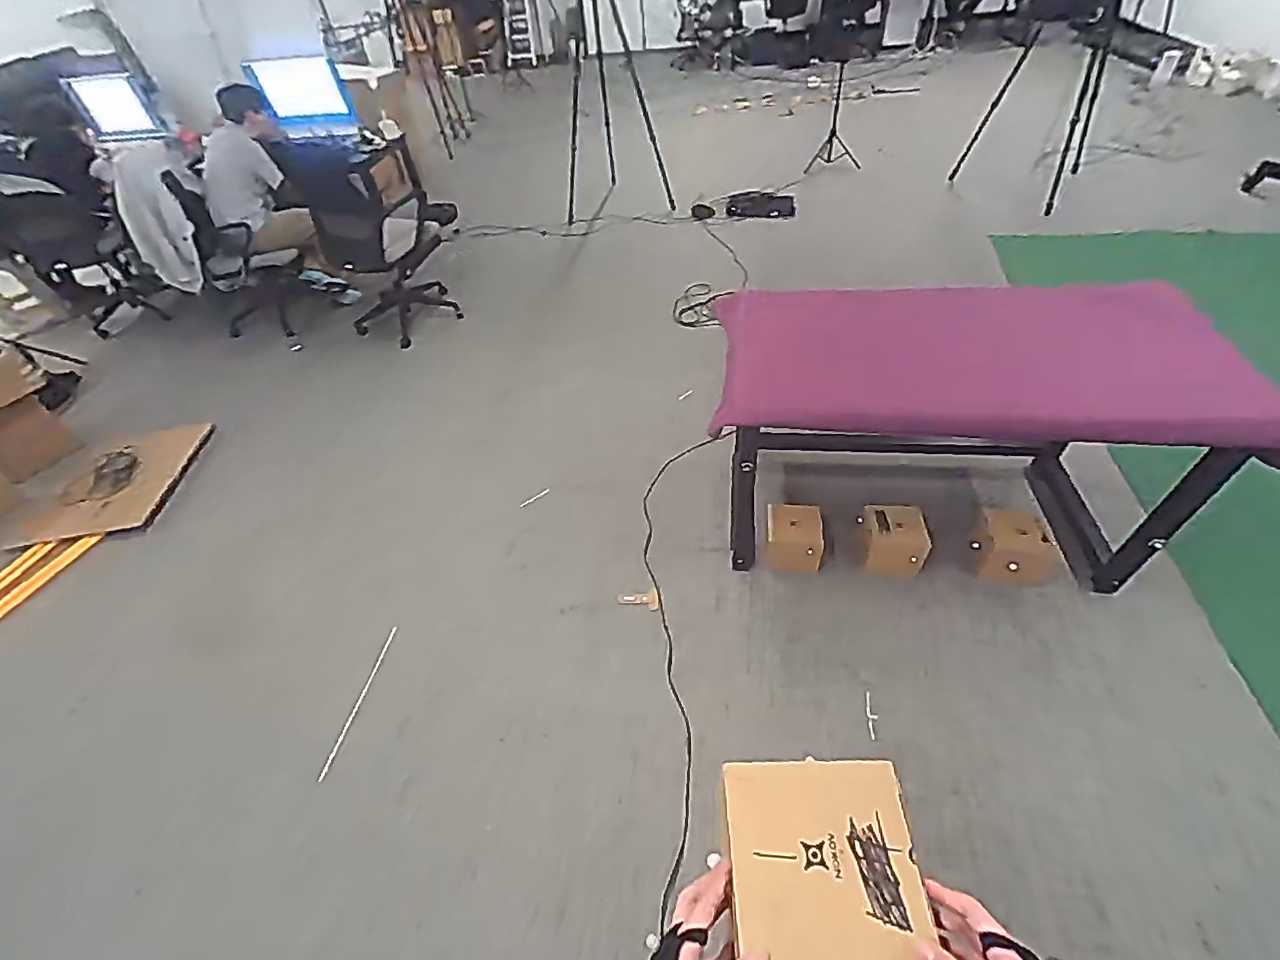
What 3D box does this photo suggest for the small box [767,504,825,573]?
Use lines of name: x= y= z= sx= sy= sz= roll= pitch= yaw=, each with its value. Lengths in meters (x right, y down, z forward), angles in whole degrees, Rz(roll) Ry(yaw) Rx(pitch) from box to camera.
small box: x=0.526 y=0.201 z=1.843 sx=0.179 sy=0.176 sz=0.168 roll=2 pitch=47 yaw=10

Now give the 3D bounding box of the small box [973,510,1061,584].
small box: x=1.193 y=0.216 z=1.730 sx=0.179 sy=0.176 sz=0.168 roll=4 pitch=48 yaw=13
